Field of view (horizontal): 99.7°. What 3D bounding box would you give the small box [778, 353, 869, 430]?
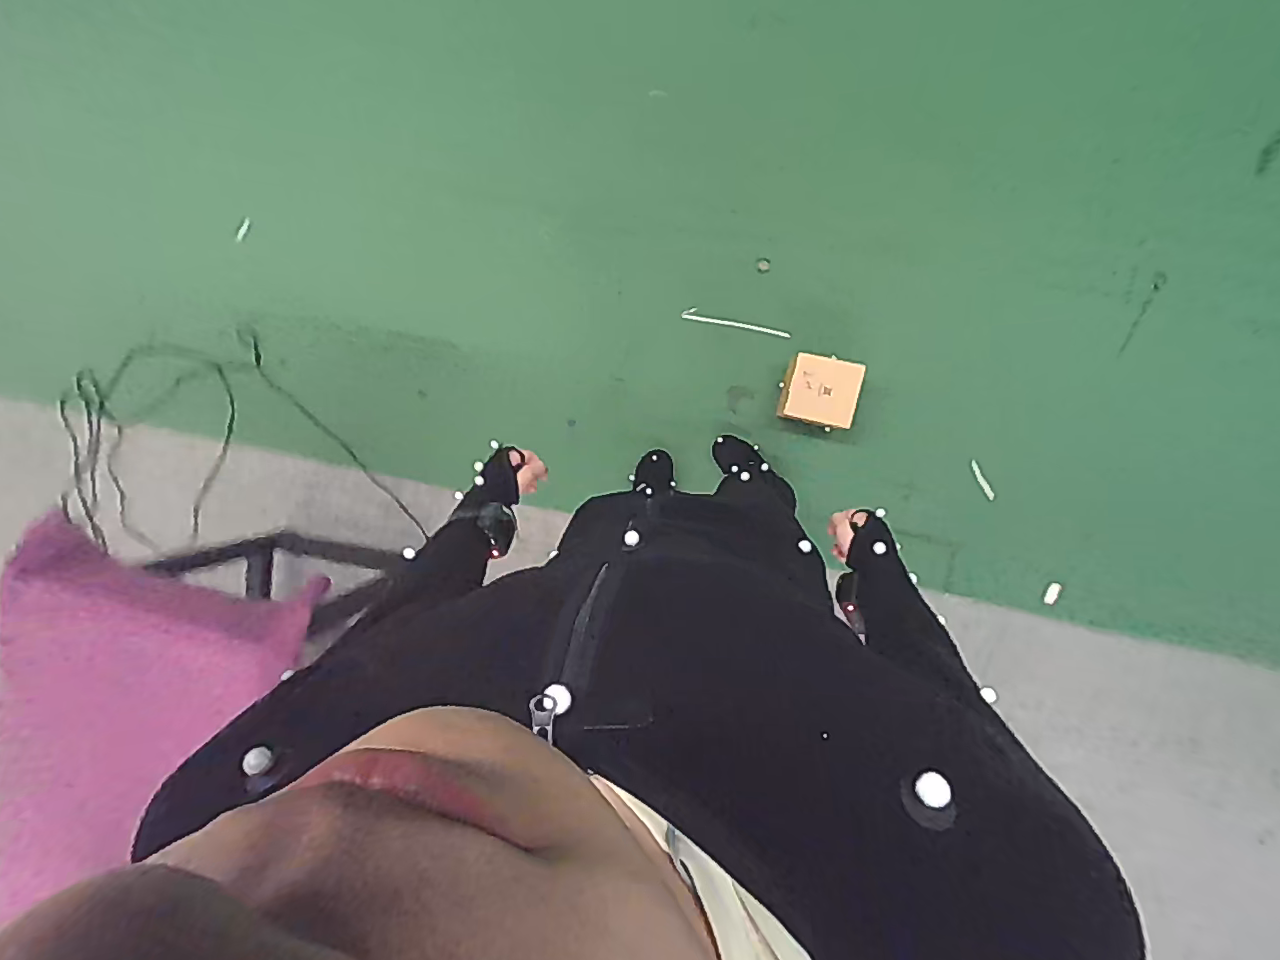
[{"bbox_3d":[0.490,-0.238,1.467,0.179,0.176,0.168,14,97,5],"label":"small box"}]
